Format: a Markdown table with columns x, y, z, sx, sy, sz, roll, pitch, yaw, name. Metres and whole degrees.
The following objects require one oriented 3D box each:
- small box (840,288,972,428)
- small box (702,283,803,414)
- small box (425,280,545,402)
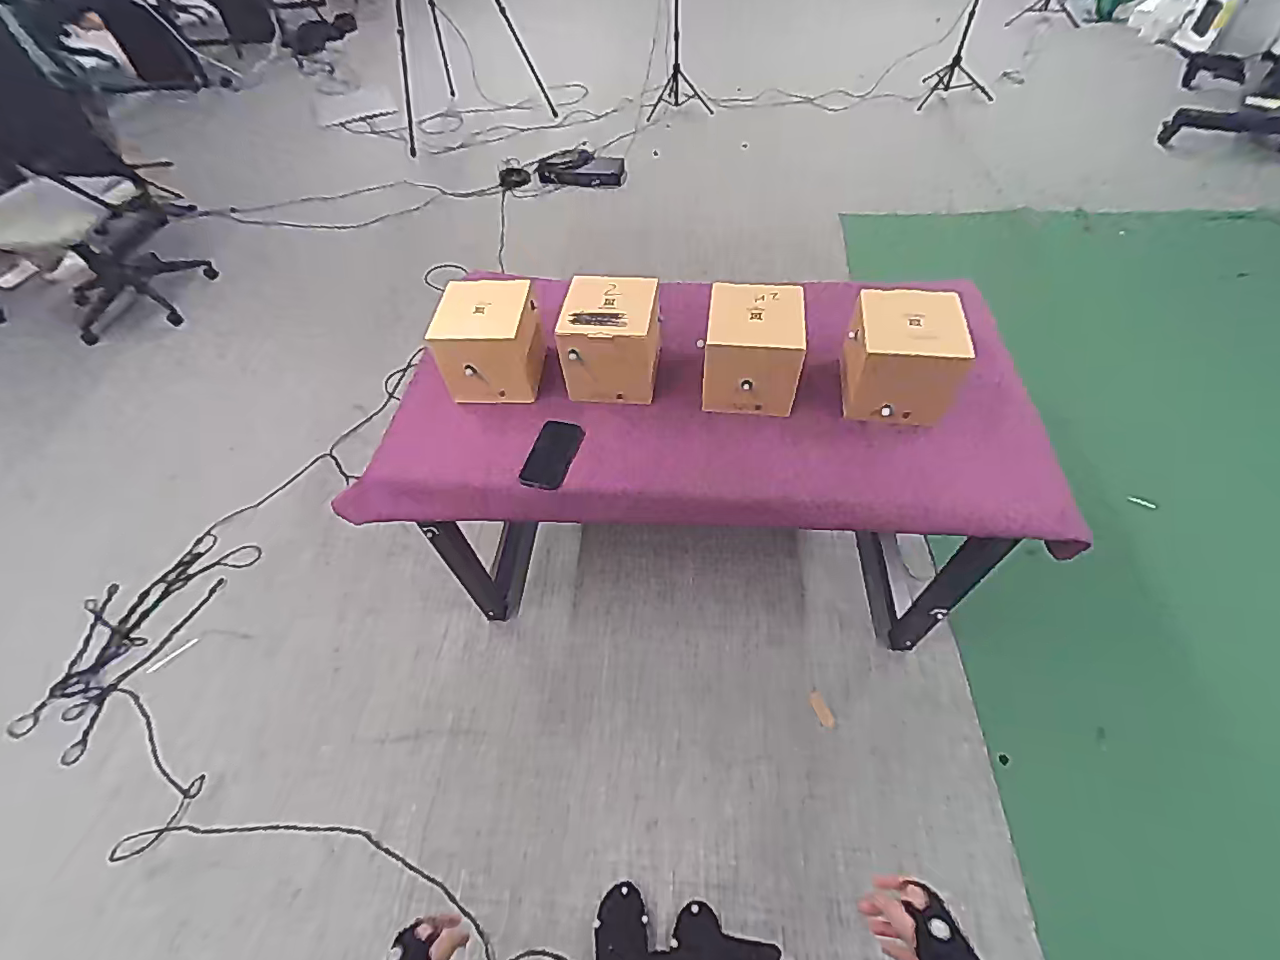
| x | y | z | sx | sy | sz | roll | pitch | yaw | name |
| --- | --- | --- | --- | --- | --- | --- | --- | --- | --- |
| 0.464 | -0.220 | 0.975 | 0.168 | 0.176 | 0.179 | 6 | 54 | 9 | small box |
| 0.206 | -0.241 | 1.008 | 0.168 | 0.176 | 0.179 | 5 | 54 | 7 | small box |
| -0.291 | -0.267 | 1.062 | 0.168 | 0.176 | 0.179 | 0 | 53 | 4 | small box |
